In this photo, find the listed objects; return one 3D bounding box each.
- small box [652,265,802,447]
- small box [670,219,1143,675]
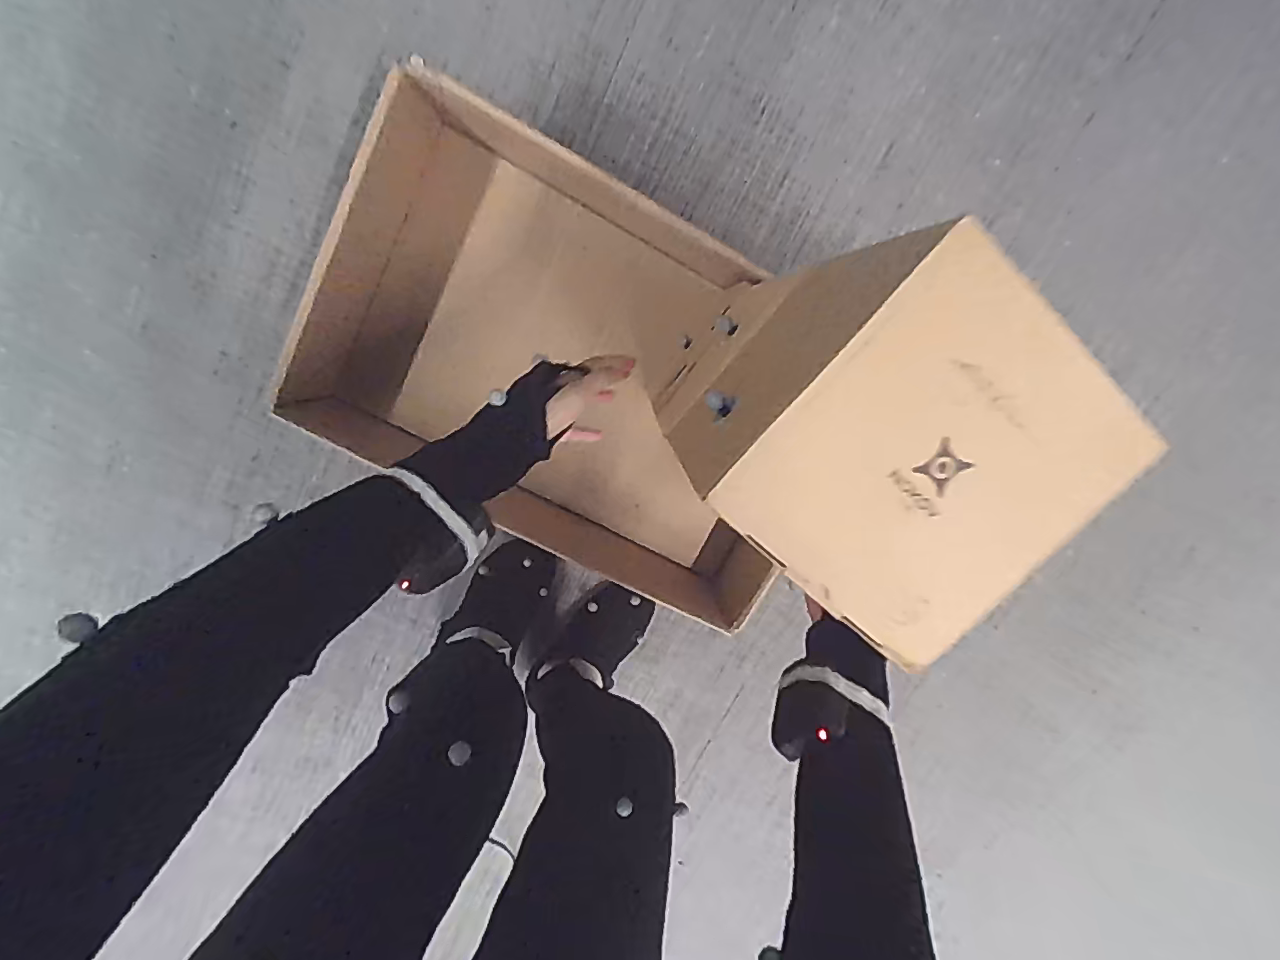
[{"bbox_3d":[0.125,-0.066,0.503,0.179,0.176,0.168,38,102,-9],"label":"small box"},{"bbox_3d":[0.133,-0.024,0.345,0.168,0.176,0.179,40,100,-13],"label":"small box"}]
